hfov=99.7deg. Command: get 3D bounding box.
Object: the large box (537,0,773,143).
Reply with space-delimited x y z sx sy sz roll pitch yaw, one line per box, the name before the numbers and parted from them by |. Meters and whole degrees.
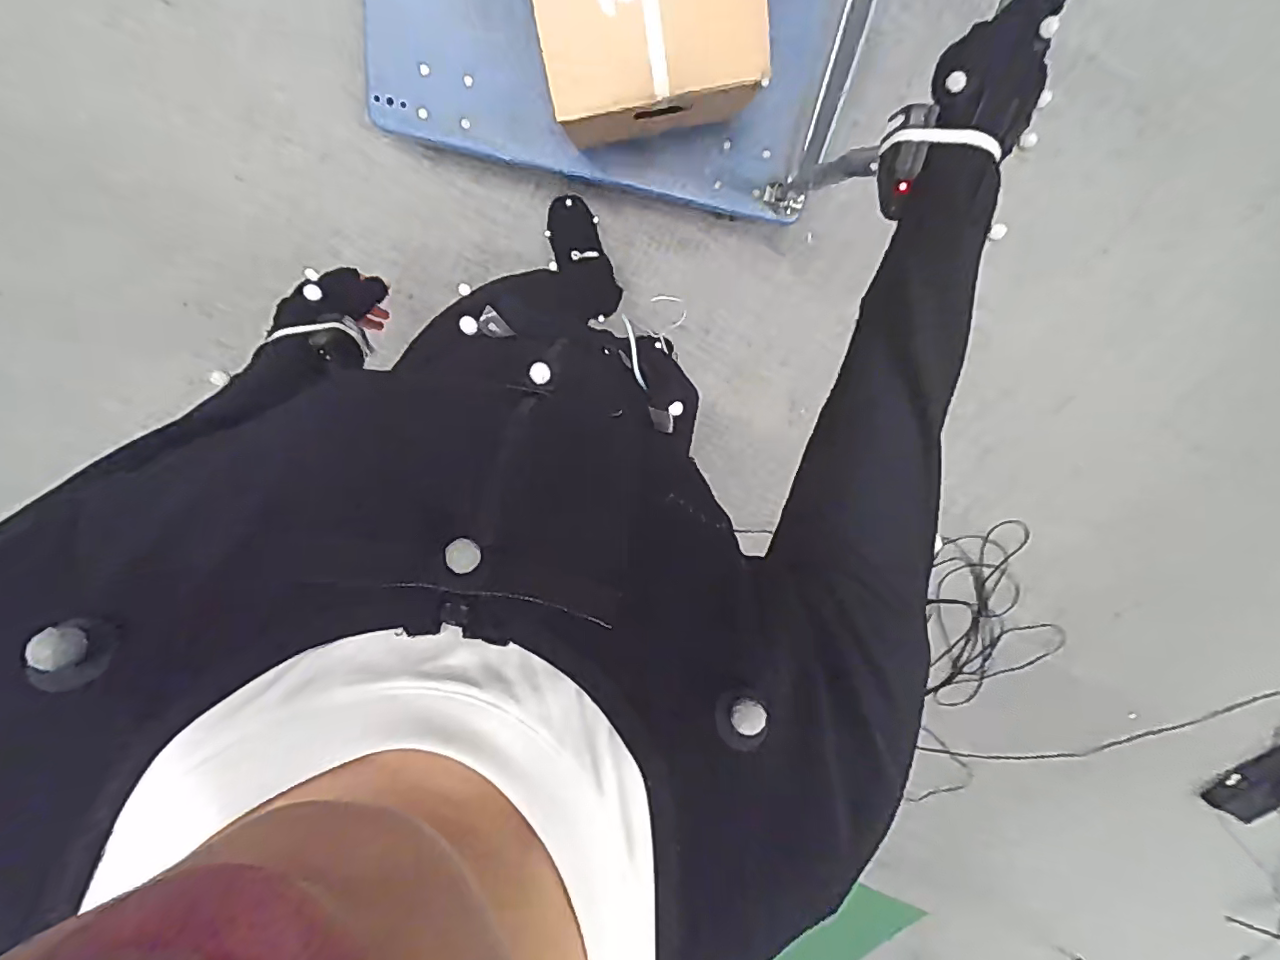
large box | -0.002 -0.790 0.826 0.320 0.320 0.408 -9 116 4
